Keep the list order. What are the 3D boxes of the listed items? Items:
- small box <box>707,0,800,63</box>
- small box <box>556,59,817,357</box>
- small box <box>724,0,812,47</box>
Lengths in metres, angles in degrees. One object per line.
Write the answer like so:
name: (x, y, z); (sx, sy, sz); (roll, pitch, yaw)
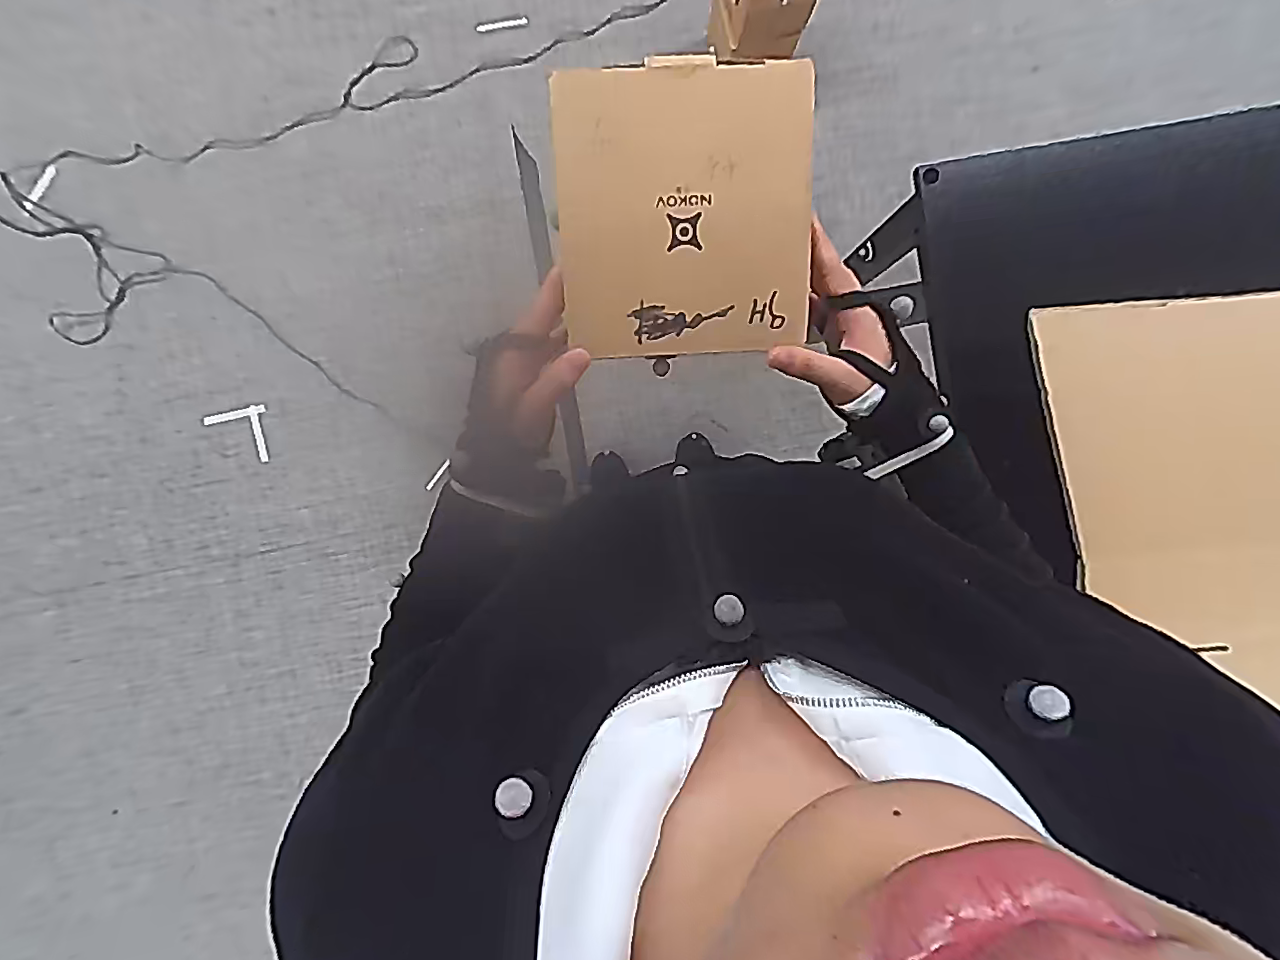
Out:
small box: (0.281, -1.127, 1.369); (0.179, 0.176, 0.168); (-14, 92, 1)
small box: (0.029, -0.190, 0.428); (0.168, 0.176, 0.179); (-3, 104, -1)
small box: (0.288, -1.123, 1.207); (0.179, 0.176, 0.168); (-17, 93, -1)
